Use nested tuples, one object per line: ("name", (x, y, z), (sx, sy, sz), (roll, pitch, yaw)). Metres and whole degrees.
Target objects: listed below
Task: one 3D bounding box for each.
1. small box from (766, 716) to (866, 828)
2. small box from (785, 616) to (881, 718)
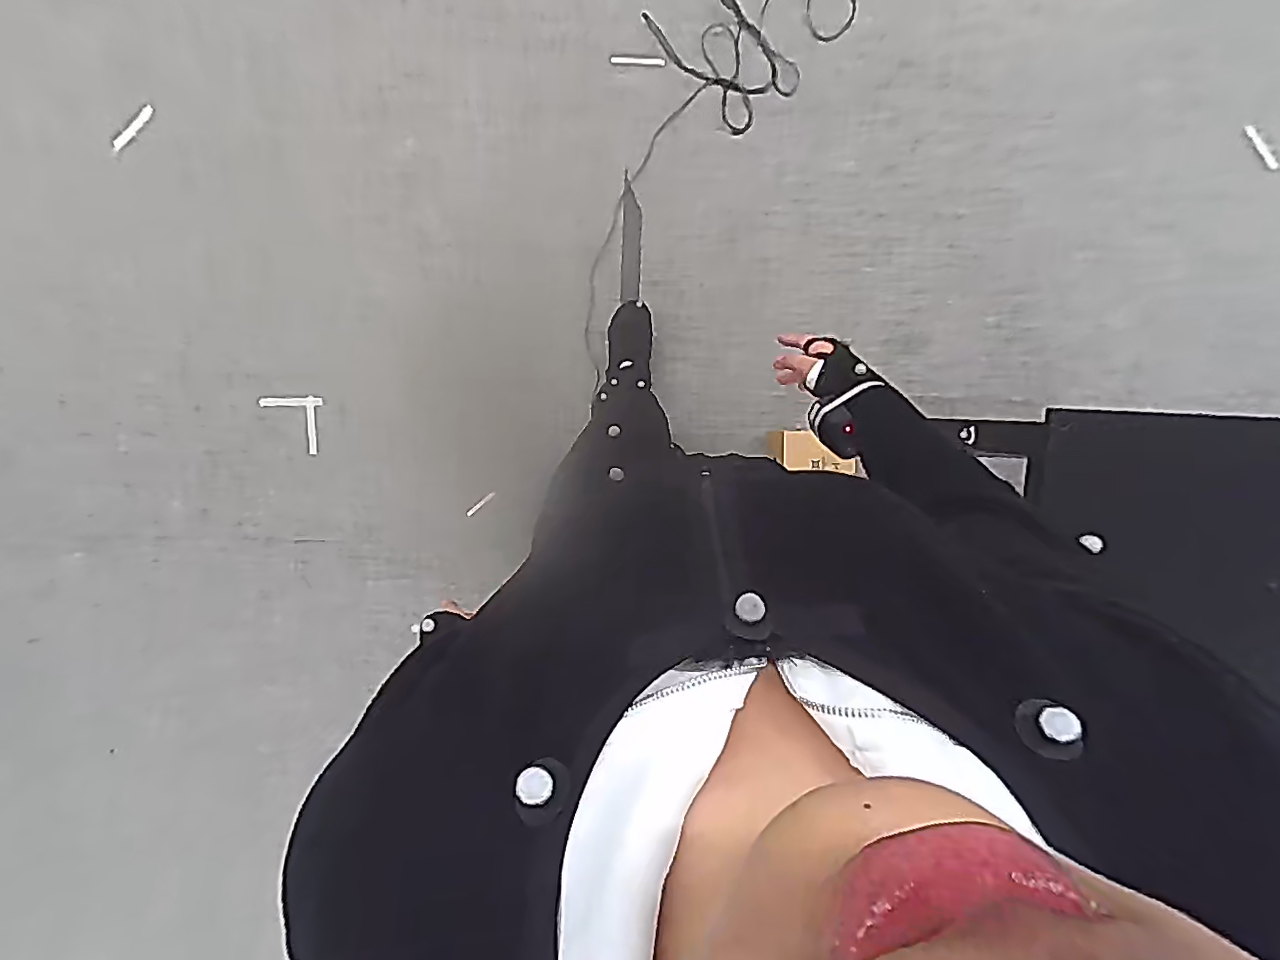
("small box", (0.478, 0.799, 1.496), (0.168, 0.176, 0.179), (-44, 94, 5))
("small box", (0.512, 0.499, 1.465), (0.168, 0.176, 0.179), (23, 95, -3))
